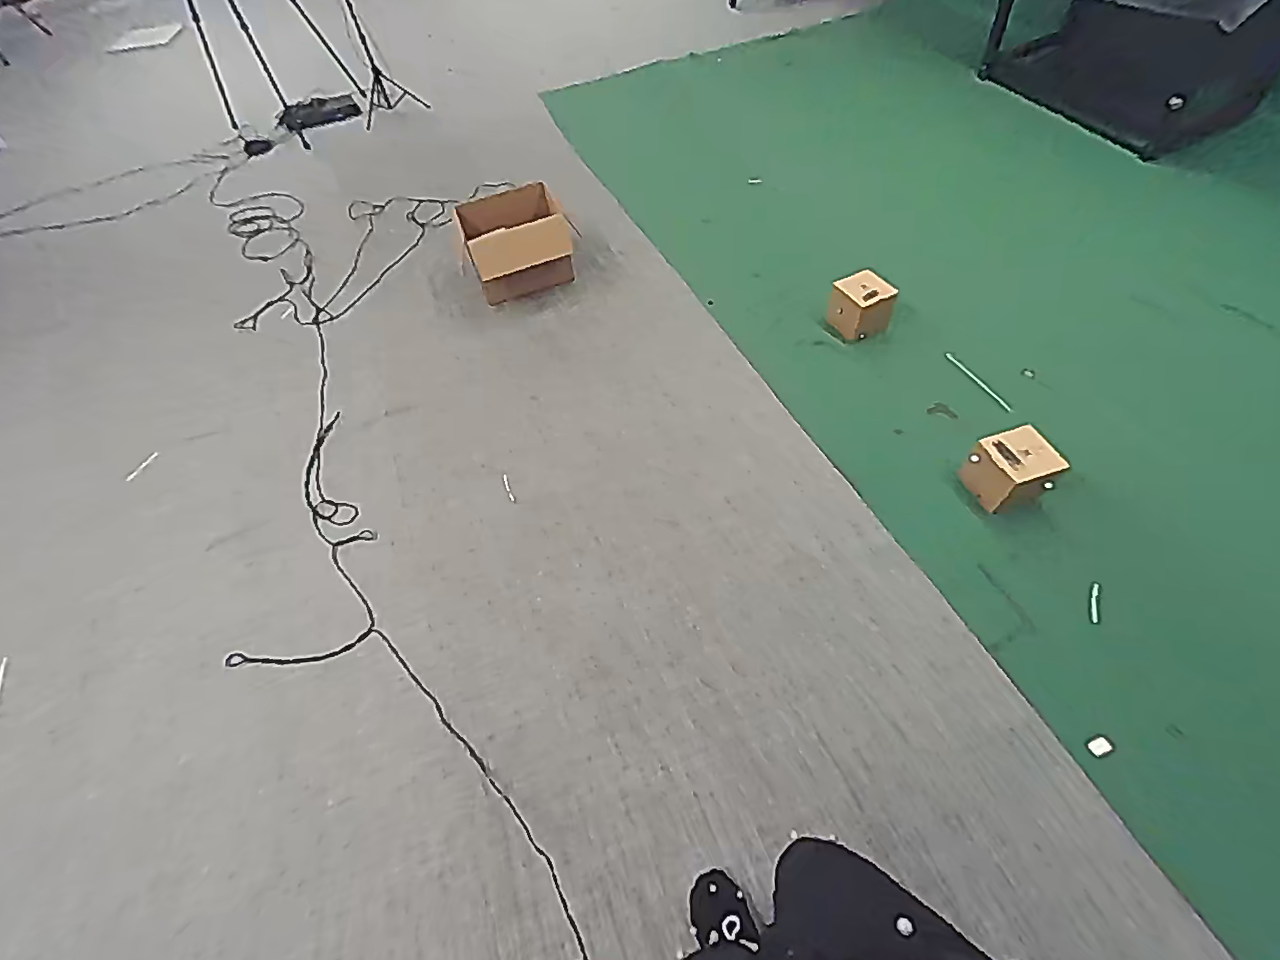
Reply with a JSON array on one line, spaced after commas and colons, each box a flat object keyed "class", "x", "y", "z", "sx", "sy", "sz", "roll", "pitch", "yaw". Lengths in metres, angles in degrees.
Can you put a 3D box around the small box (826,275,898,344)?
[{"class": "small box", "x": 0.838, "y": -0.641, "z": 2.058, "sx": 0.168, "sy": 0.176, "sz": 0.179, "roll": -23, "pitch": 55, "yaw": -11}]
